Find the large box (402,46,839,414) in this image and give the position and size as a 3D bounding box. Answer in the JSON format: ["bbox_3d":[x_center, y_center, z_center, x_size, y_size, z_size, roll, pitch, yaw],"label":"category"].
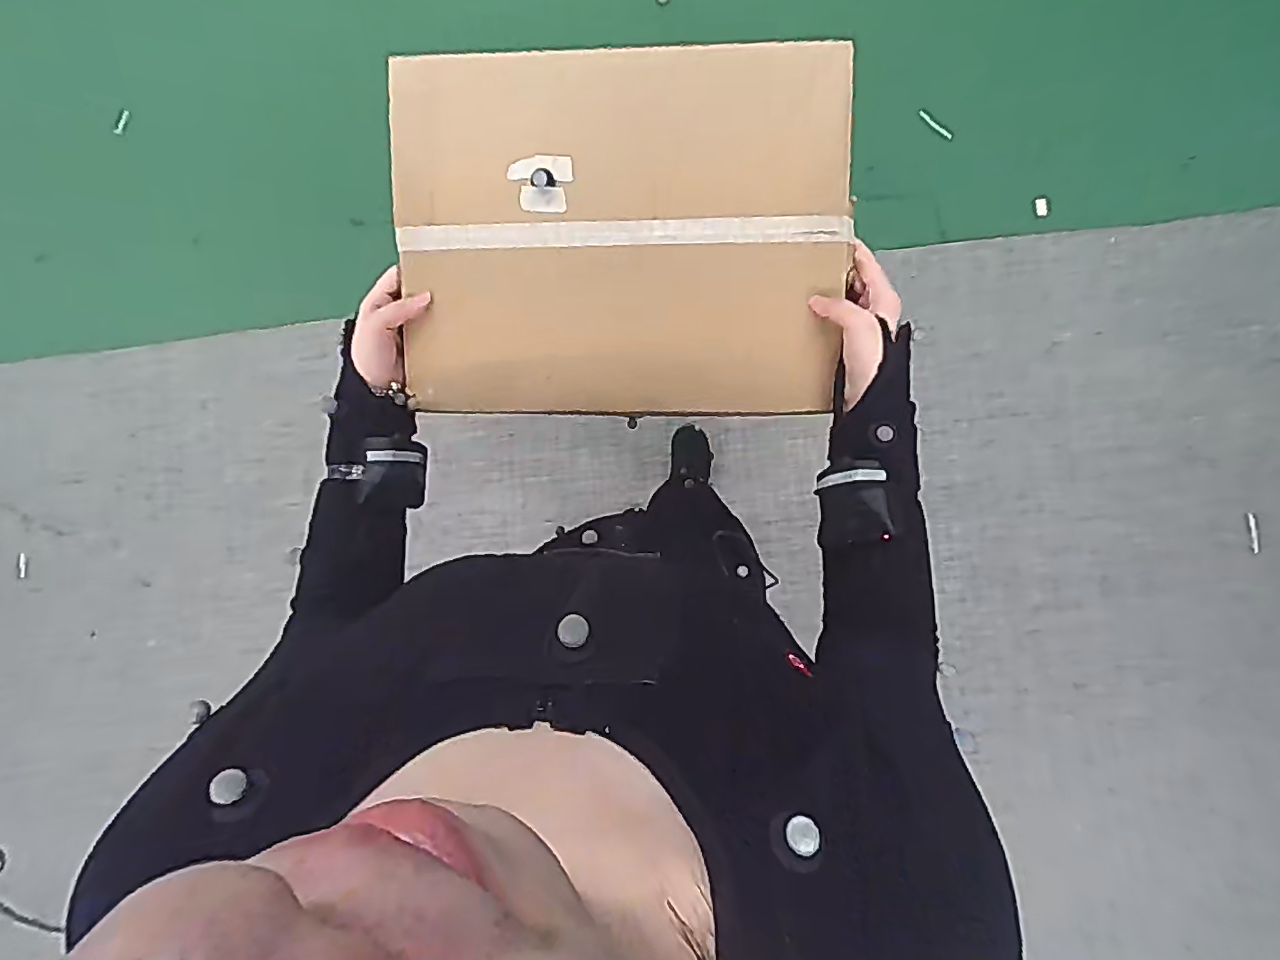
[{"bbox_3d":[-0.007,-0.240,0.648,0.408,0.320,0.320,0,96,5],"label":"large box"}]
